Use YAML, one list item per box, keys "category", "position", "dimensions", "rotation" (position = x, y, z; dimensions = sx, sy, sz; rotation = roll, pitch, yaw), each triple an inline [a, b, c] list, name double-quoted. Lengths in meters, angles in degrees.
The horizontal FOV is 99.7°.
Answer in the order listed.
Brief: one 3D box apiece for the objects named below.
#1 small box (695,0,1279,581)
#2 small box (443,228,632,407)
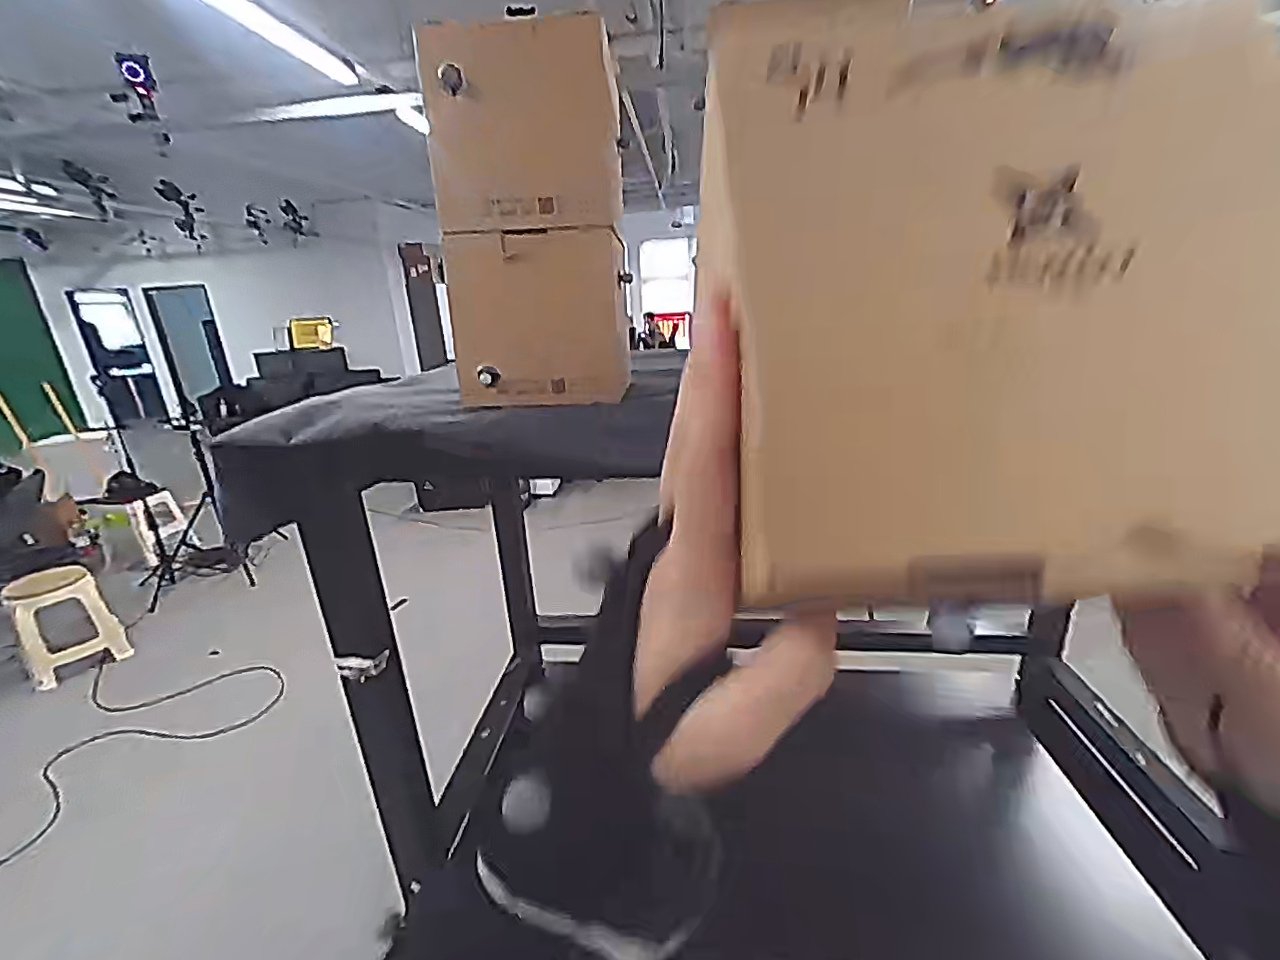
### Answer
- category: "small box"
  position: [0.110, -0.052, 0.219]
  dimensions: [0.168, 0.179, 0.176]
  rotation: [-3, -16, 2]
- category: "small box"
  position: [-0.098, -0.175, 0.609]
  dimensions: [0.168, 0.176, 0.179]
  rotation: [-1, 16, 4]
